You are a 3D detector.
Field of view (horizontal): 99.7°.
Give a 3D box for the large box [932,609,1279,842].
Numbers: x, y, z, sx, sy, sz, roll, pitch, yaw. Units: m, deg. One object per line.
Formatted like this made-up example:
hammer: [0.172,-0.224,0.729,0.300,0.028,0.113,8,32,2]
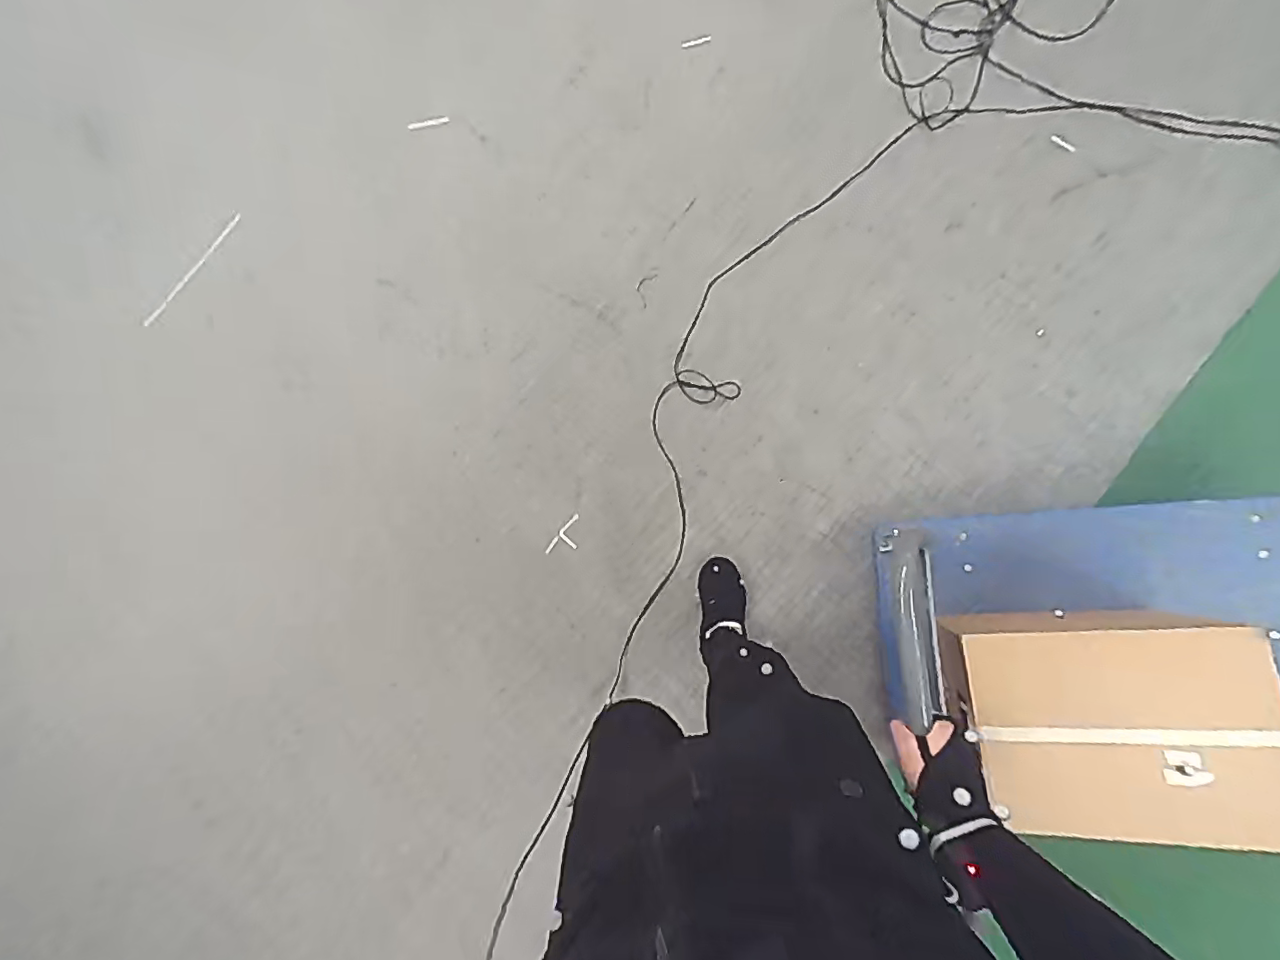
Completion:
large box: [0.801,0.409,0.983,0.408,0.320,0.320,-7,81,18]
